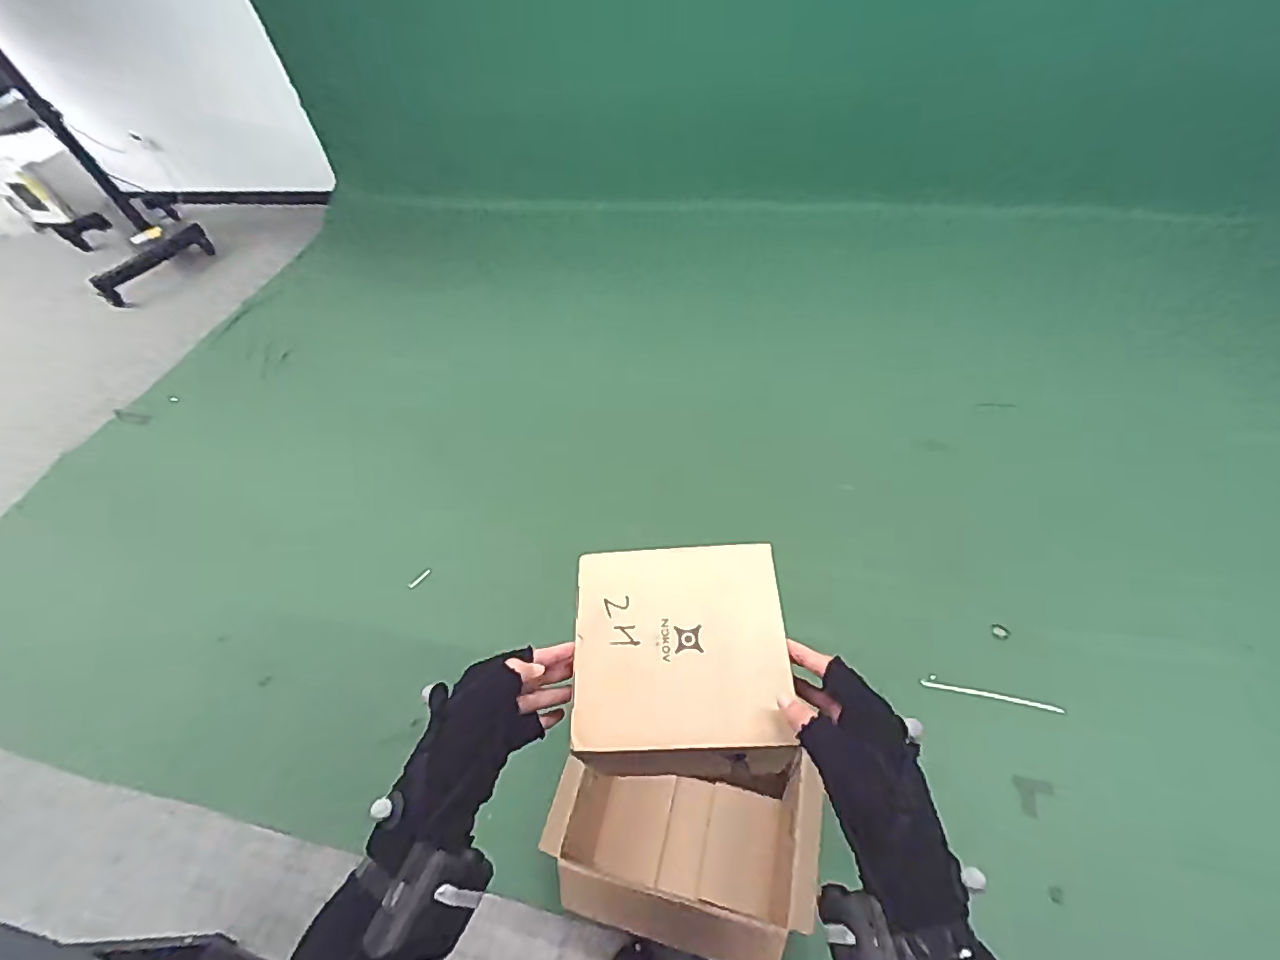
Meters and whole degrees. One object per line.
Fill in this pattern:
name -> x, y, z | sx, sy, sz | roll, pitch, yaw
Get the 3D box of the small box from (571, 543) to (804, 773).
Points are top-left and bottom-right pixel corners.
small box -> 0.041, 0.173, 0.509 | 0.179, 0.176, 0.168 | -4, 55, 5
